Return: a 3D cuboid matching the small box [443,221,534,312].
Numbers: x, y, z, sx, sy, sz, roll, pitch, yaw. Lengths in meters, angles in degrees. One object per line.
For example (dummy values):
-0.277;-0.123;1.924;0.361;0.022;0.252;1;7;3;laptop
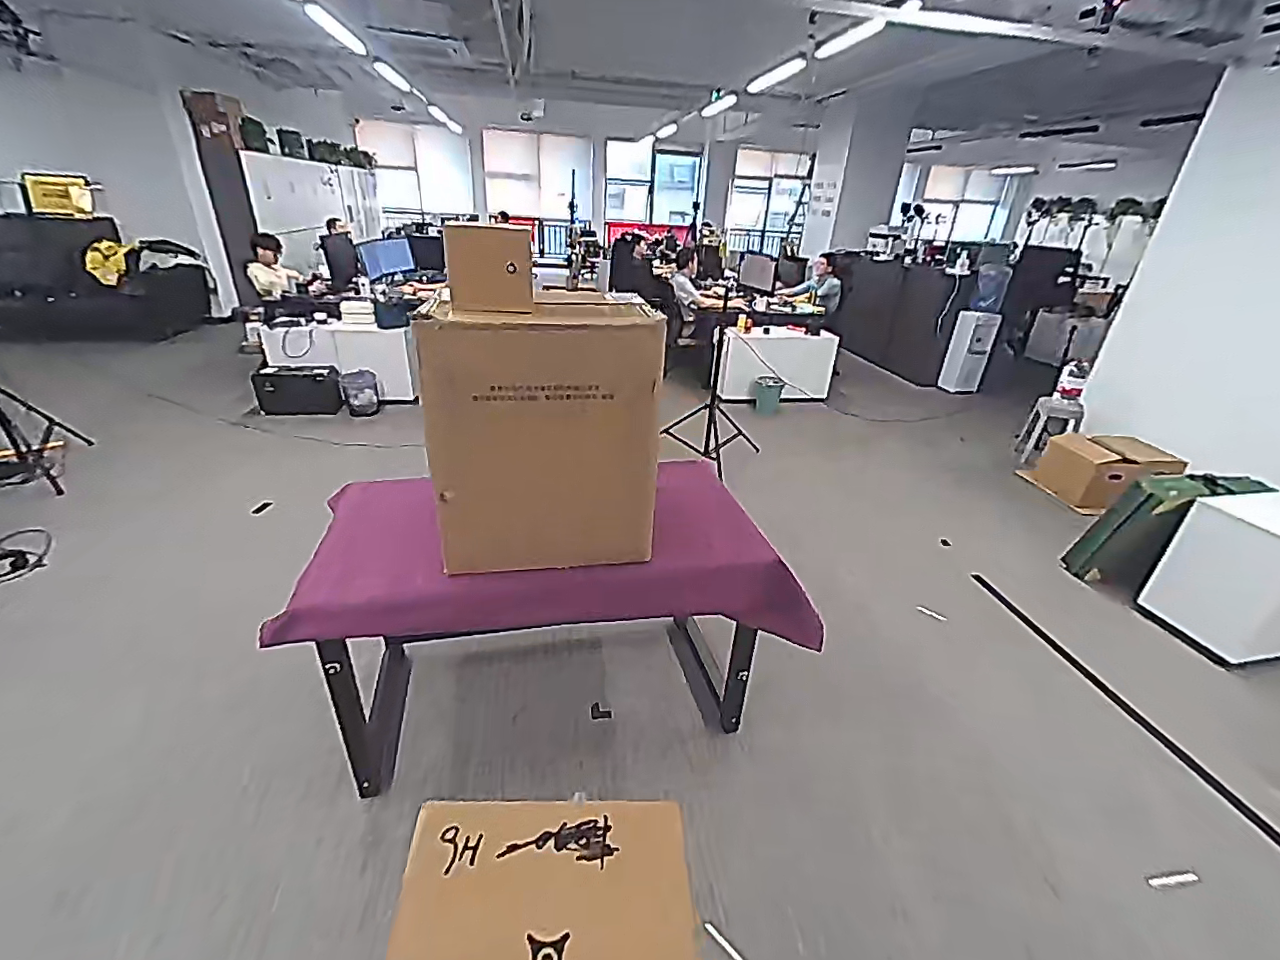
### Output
-0.325;-0.470;1.189;0.179;0.176;0.168;-3;27;-11;small box
